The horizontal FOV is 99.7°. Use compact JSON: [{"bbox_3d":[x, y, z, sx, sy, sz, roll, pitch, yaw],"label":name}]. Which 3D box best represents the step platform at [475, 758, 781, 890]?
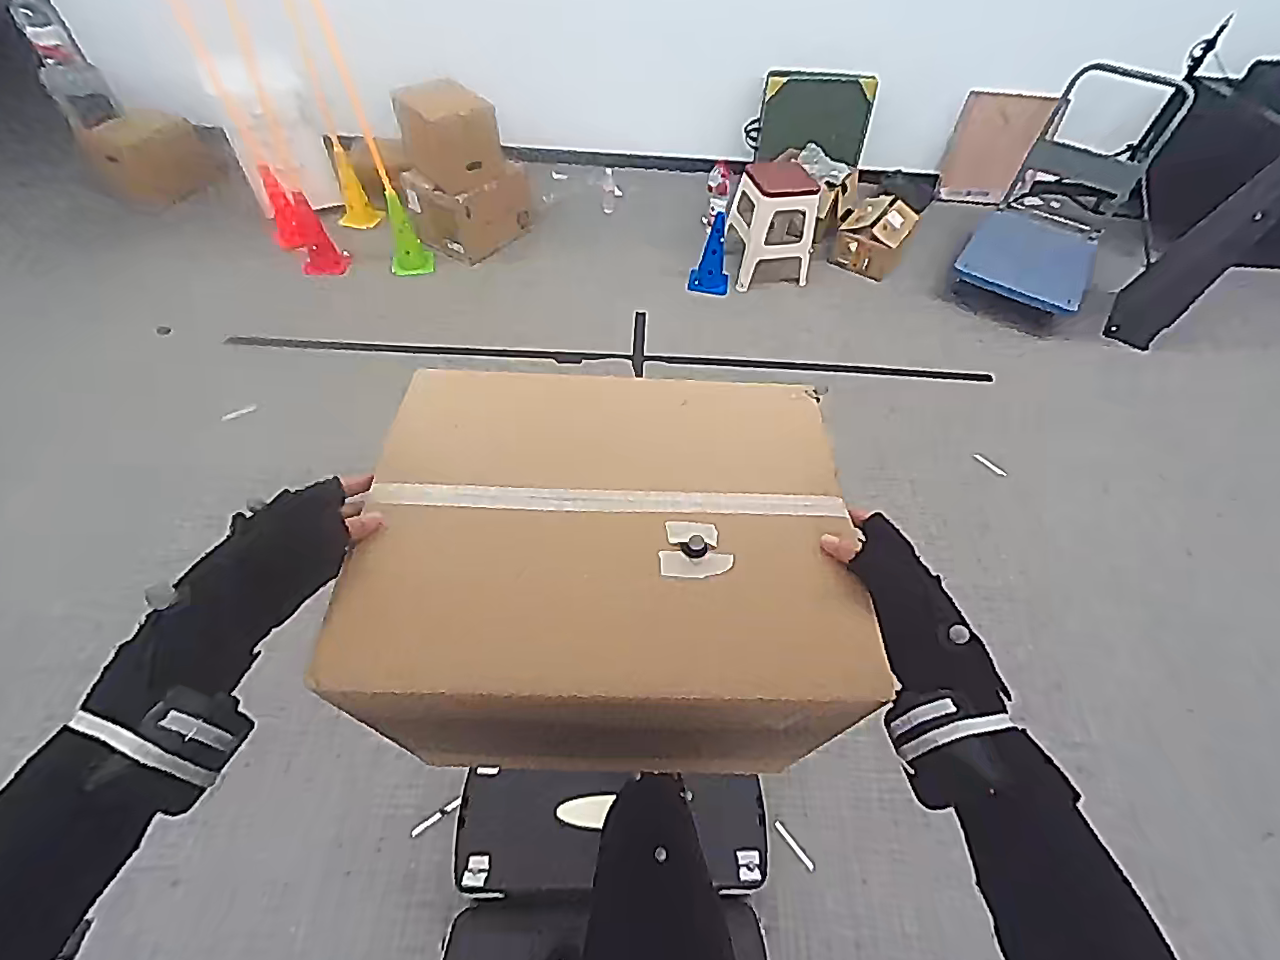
[{"bbox_3d":[-0.026,0.772,1.258,0.684,0.204,0.286,2,52,-4],"label":"step platform"}]

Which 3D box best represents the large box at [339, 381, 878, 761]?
[{"bbox_3d":[-0.029,0.114,0.599,0.408,0.320,0.320,3,54,-3],"label":"large box"}]
